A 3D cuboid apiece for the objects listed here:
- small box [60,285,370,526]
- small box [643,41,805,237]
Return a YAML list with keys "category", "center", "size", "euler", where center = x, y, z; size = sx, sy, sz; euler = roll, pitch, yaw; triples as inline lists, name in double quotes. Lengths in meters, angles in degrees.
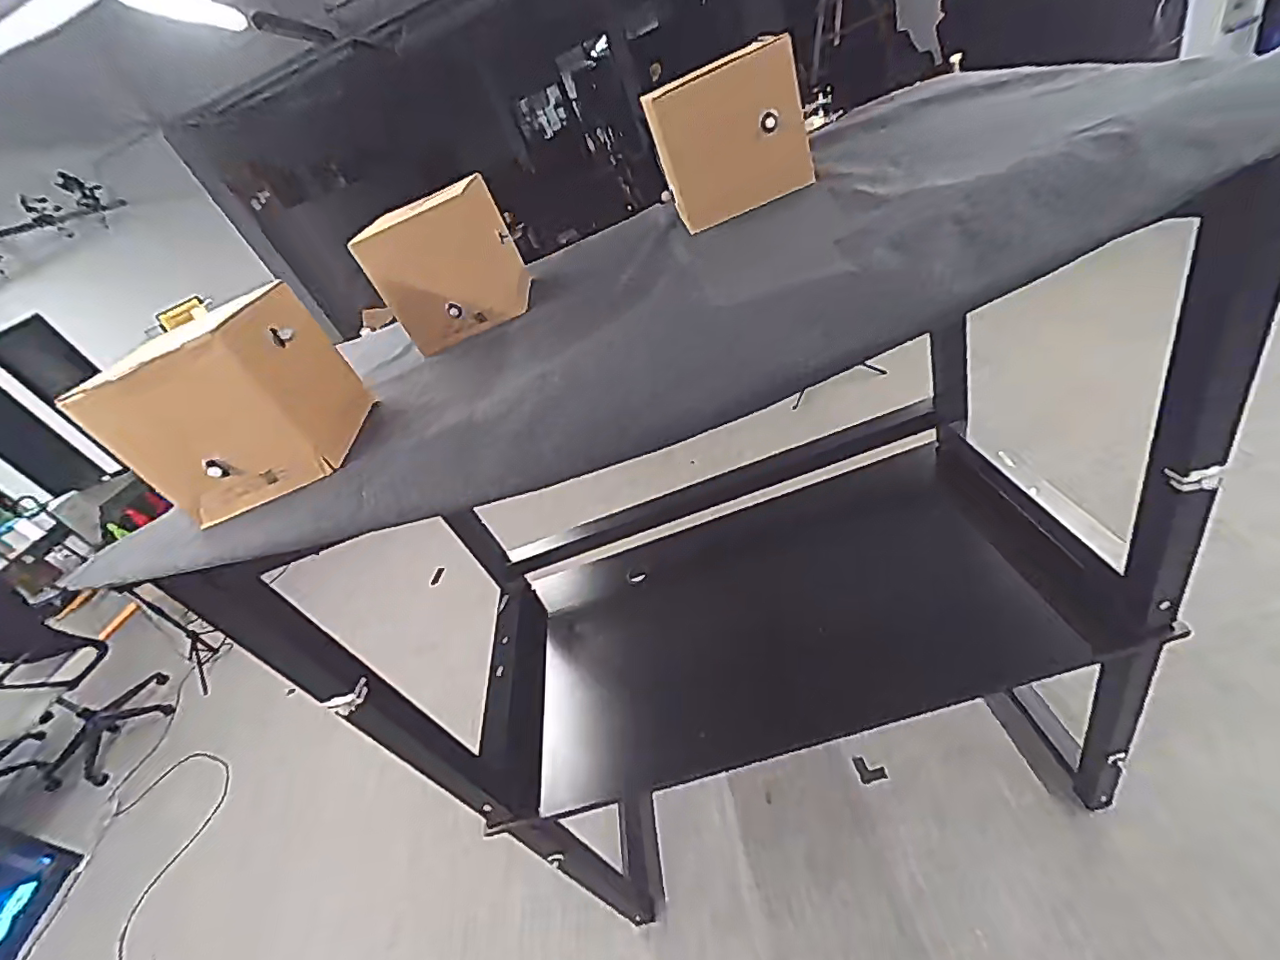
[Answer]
- category: "small box"
  center: [-0.429, -0.082, 0.589]
  size: [0.168, 0.176, 0.179]
  euler: [-23, 36, 4]
- category: "small box"
  center: [0.117, -0.464, 0.745]
  size: [0.179, 0.176, 0.168]
  euler: [-19, 34, 9]
